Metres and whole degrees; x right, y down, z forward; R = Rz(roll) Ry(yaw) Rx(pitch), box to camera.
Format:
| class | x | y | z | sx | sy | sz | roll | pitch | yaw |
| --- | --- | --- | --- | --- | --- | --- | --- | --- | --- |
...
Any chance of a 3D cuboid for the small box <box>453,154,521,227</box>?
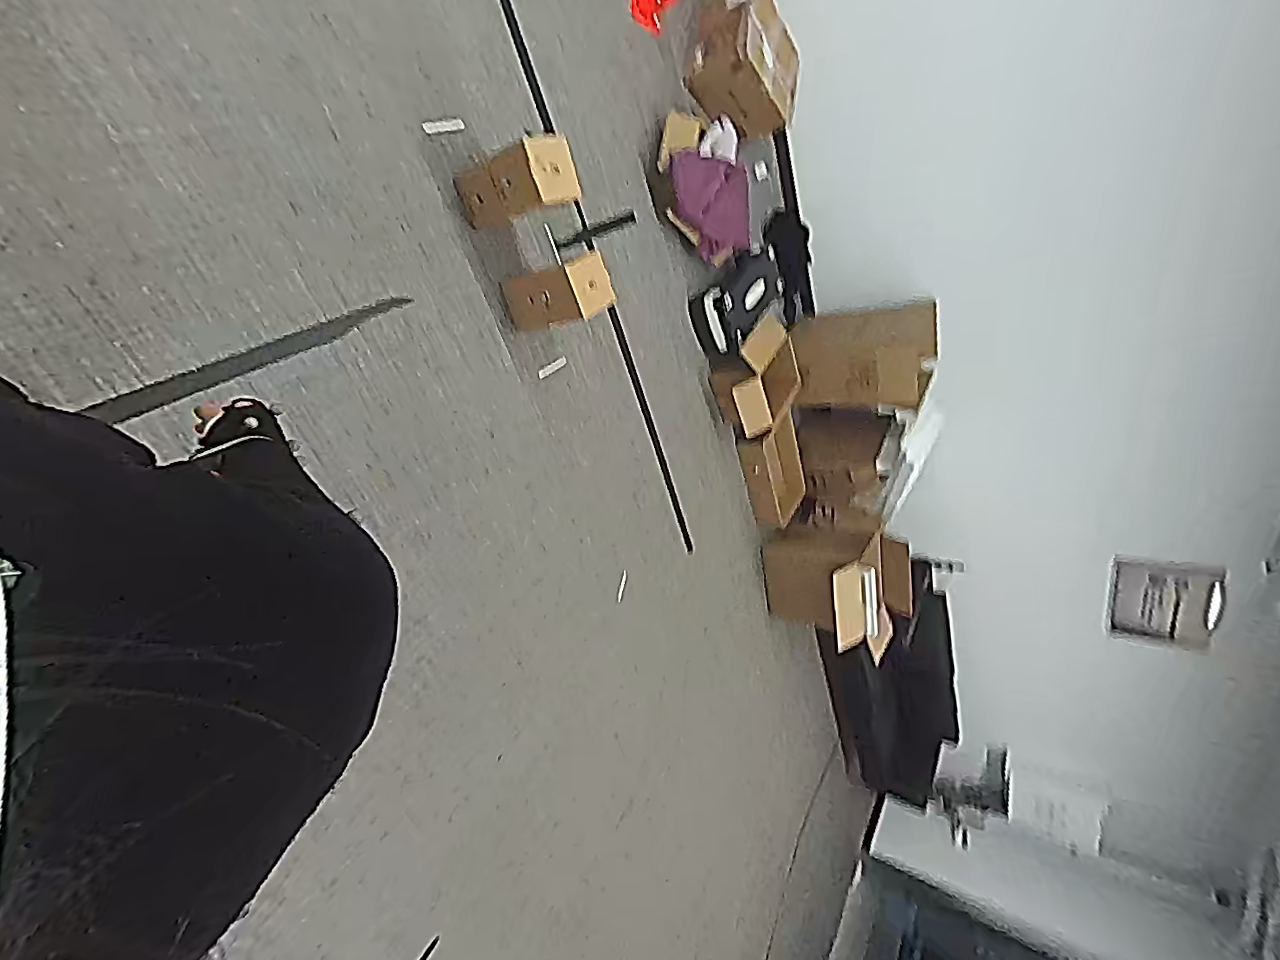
| class | x | y | z | sx | sy | sz | roll | pitch | yaw |
| --- | --- | --- | --- | --- | --- | --- | --- | --- | --- |
| small box | -0.456 | -0.914 | 1.692 | 0.179 | 0.176 | 0.168 | -45 | 126 | -38 |

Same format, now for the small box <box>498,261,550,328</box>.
| class | x | y | z | sx | sy | sz | roll | pitch | yaw |
| --- | --- | --- | --- | --- | --- | --- | --- | --- | --- |
| small box | -0.356 | -0.635 | 1.849 | 0.168 | 0.176 | 0.179 | -42 | 126 | -41 |

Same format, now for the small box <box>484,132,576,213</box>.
| class | x | y | z | sx | sy | sz | roll | pitch | yaw |
| --- | --- | --- | --- | --- | --- | --- | --- | --- | --- |
| small box | -0.324 | -0.904 | 1.592 | 0.179 | 0.176 | 0.168 | -40 | 122 | -42 |

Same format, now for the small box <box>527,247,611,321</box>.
| class | x | y | z | sx | sy | sz | roll | pitch | yaw |
| --- | --- | --- | --- | --- | --- | --- | --- | --- | --- |
| small box | -0.231 | -0.630 | 1.746 | 0.179 | 0.176 | 0.168 | -46 | 126 | -37 |
